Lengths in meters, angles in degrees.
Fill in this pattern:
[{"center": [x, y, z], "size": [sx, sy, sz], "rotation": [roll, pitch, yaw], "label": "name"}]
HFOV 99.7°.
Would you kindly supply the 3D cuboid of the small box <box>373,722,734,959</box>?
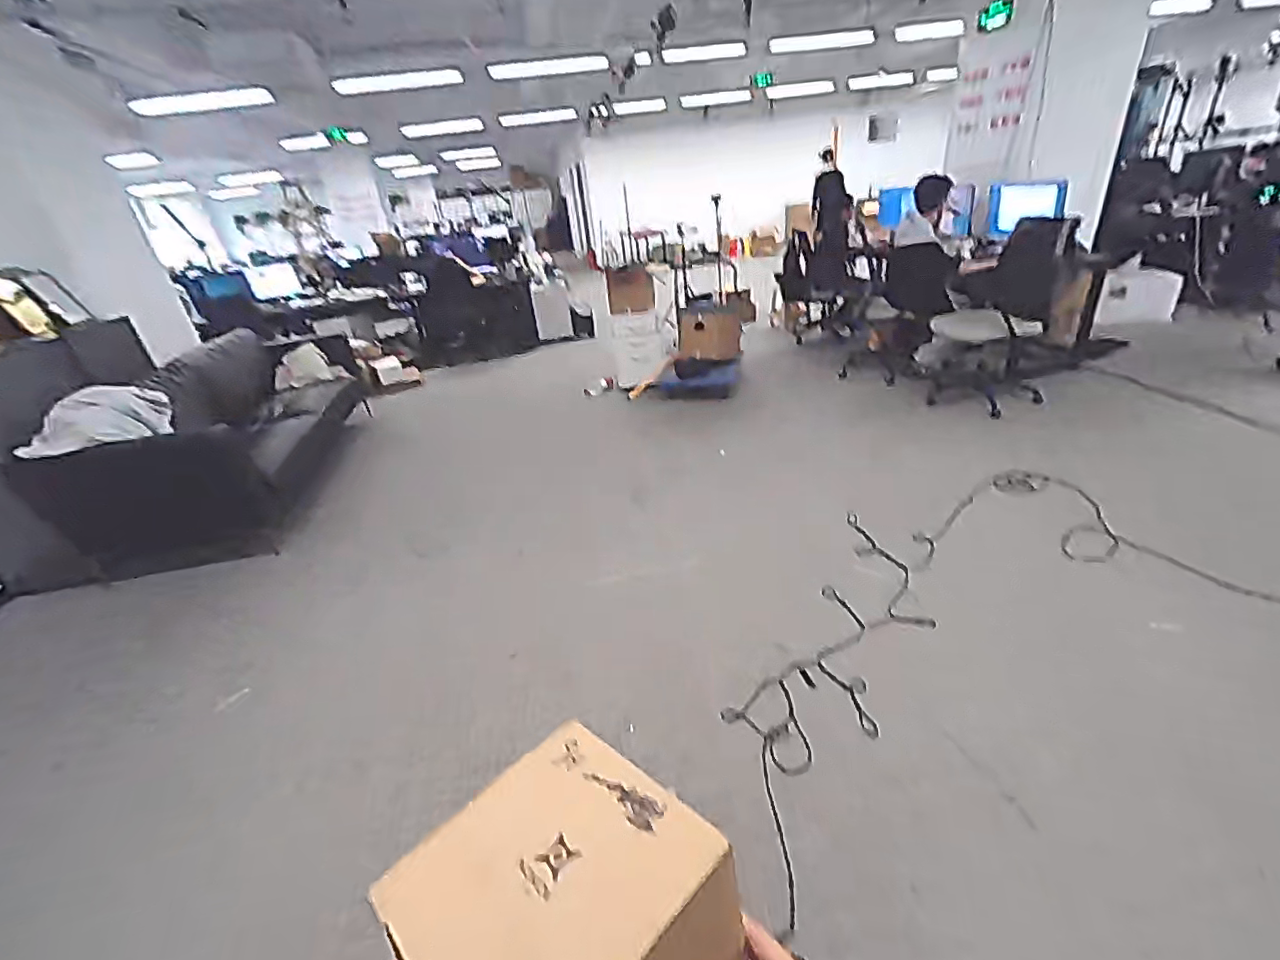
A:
[{"center": [-0.047, 0.323, 0.379], "size": [0.179, 0.176, 0.168], "rotation": [-28, 28, -37], "label": "small box"}]
